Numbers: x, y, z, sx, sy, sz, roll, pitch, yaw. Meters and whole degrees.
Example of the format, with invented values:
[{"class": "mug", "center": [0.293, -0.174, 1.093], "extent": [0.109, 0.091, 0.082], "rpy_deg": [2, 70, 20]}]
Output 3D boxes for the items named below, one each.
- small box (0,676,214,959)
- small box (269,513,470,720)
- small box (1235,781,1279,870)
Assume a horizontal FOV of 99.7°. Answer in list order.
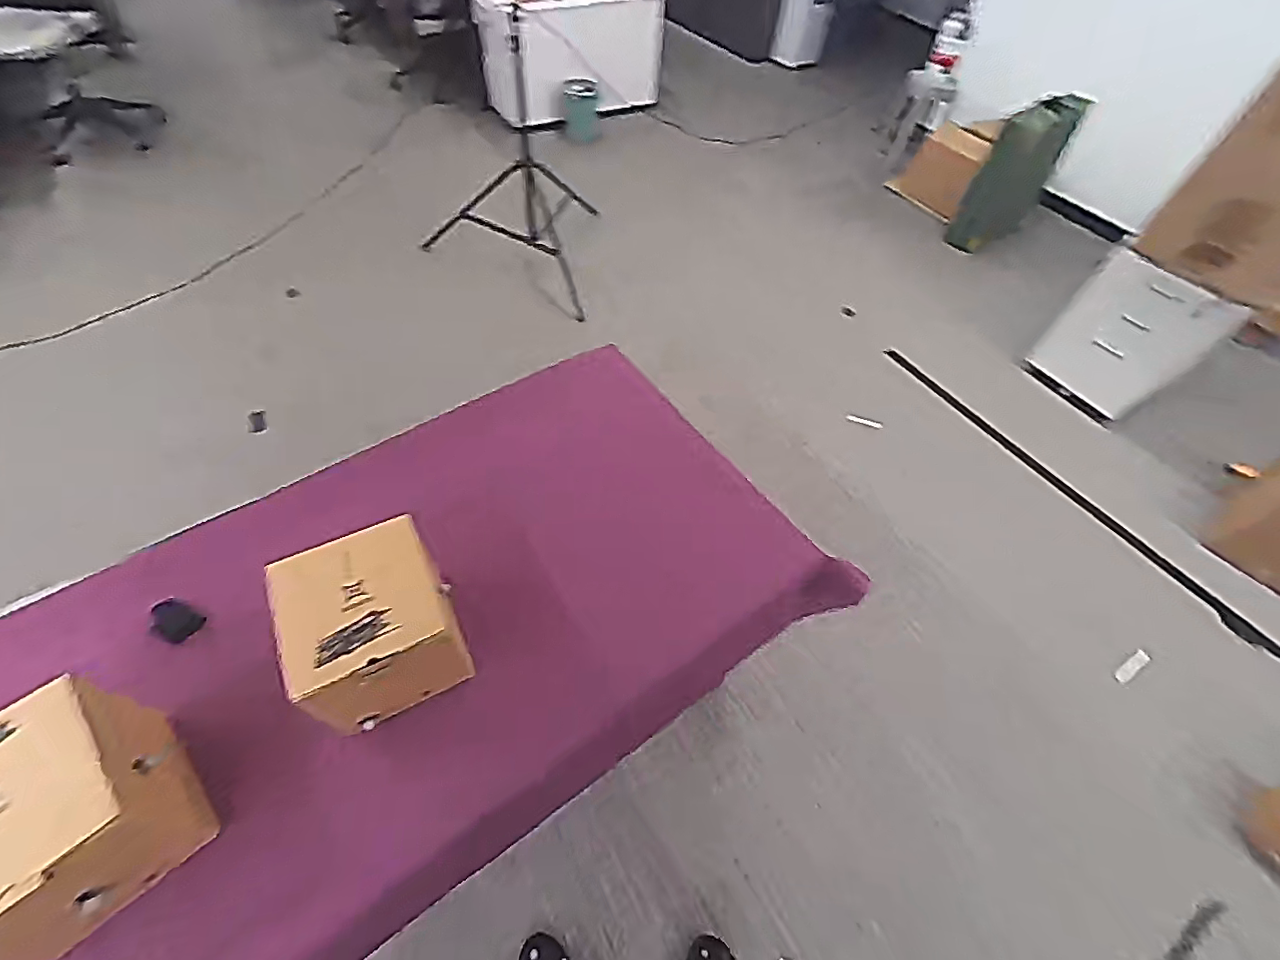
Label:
[{"class": "small box", "center": [-0.583, 0.337, 0.543], "extent": [0.168, 0.176, 0.179], "rpy_deg": [-37, 65, -28]}, {"class": "small box", "center": [-0.330, 0.179, 0.683], "extent": [0.168, 0.176, 0.179], "rpy_deg": [-22, 58, -20]}, {"class": "small box", "center": [1.597, 0.831, 1.281], "extent": [0.179, 0.176, 0.168], "rpy_deg": [-26, 59, -21]}]
